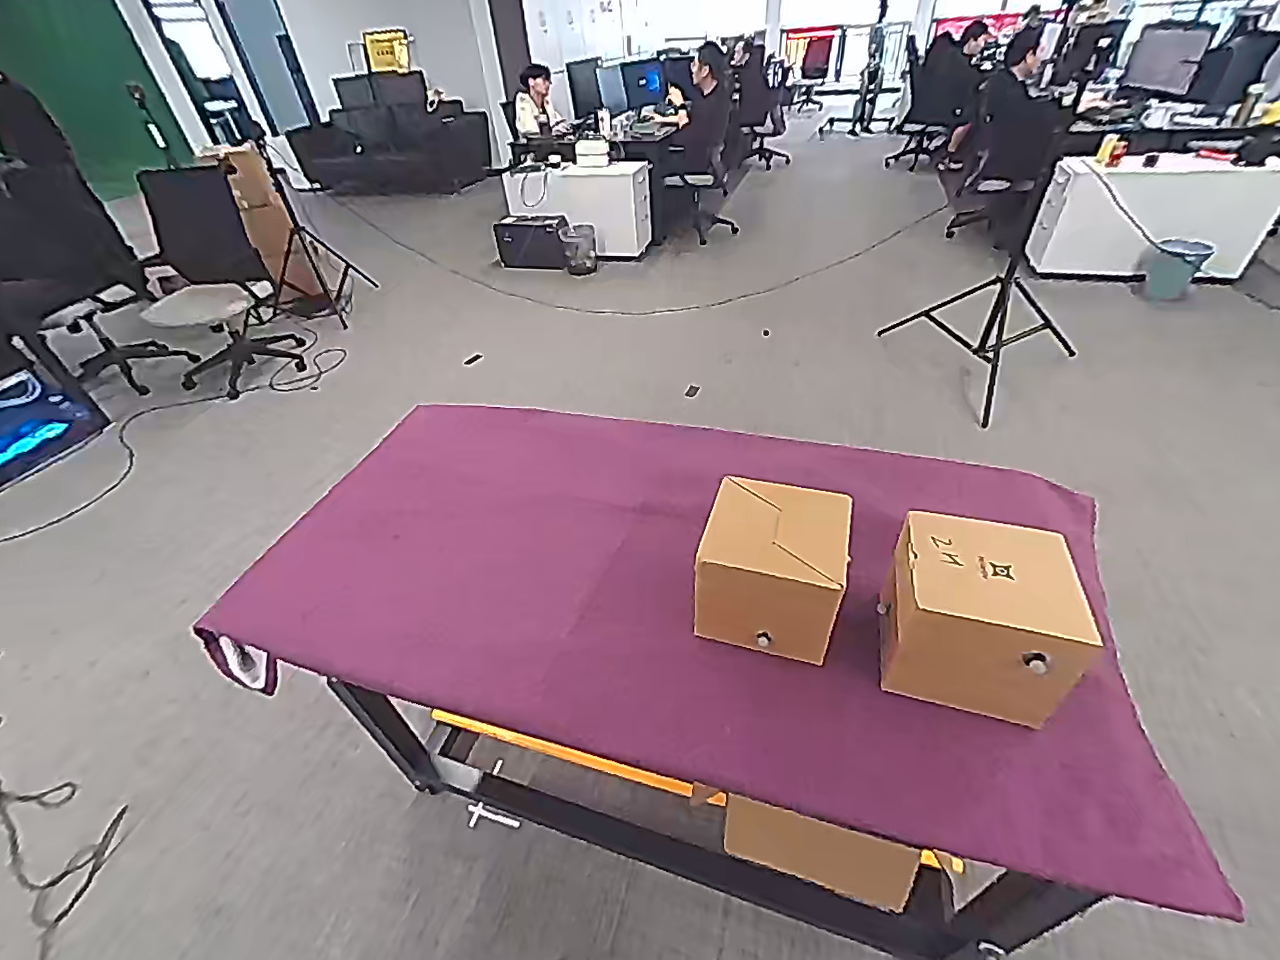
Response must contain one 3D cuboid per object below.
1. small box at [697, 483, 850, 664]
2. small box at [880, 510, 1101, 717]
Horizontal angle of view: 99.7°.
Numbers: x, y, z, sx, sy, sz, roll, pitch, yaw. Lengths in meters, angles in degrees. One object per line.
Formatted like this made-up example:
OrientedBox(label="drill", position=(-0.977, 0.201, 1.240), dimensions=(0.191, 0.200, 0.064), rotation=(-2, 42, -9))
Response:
OrientedBox(label="small box", position=(0.183, 0.120, 0.750), dimensions=(0.179, 0.176, 0.168), rotation=(9, 41, 17))
OrientedBox(label="small box", position=(0.412, 0.165, 0.673), dimensions=(0.179, 0.176, 0.168), rotation=(10, 40, 17))
